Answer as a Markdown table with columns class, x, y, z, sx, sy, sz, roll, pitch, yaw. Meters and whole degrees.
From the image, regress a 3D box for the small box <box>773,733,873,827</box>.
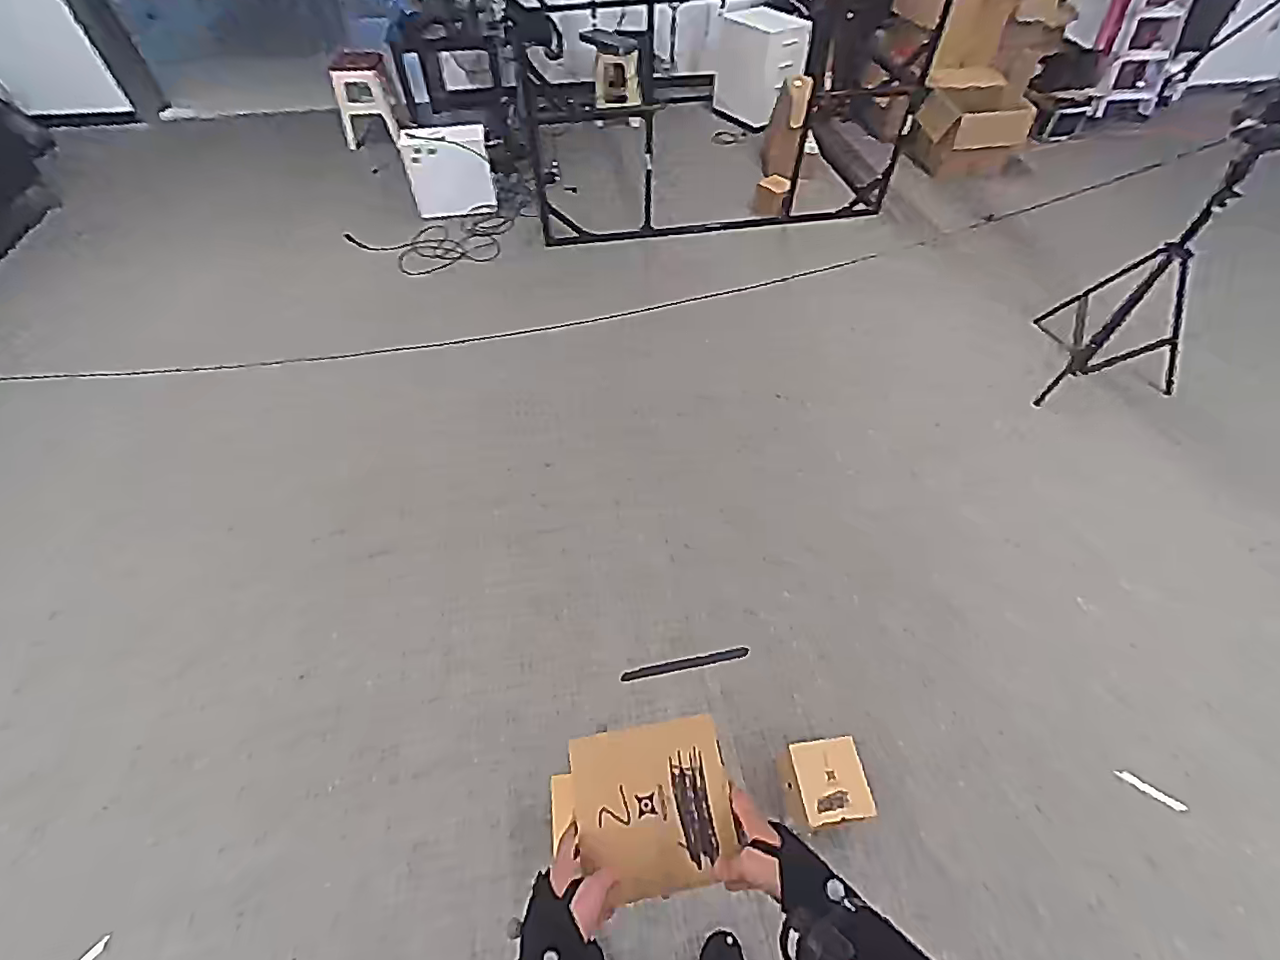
| class | x | y | z | sx | sy | sz | roll | pitch | yaw |
| --- | --- | --- | --- | --- | --- | --- | --- | --- | --- |
| small box | 0.446 | 0.753 | 1.347 | 0.168 | 0.176 | 0.179 | -5 | 52 | -5 |

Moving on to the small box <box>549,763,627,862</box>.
| class | x | y | z | sx | sy | sz | roll | pitch | yaw |
| --- | --- | --- | --- | --- | --- | --- | --- | --- | --- |
| small box | -0.124 | 0.808 | 1.307 | 0.168 | 0.176 | 0.179 | -7 | 52 | -5 |
